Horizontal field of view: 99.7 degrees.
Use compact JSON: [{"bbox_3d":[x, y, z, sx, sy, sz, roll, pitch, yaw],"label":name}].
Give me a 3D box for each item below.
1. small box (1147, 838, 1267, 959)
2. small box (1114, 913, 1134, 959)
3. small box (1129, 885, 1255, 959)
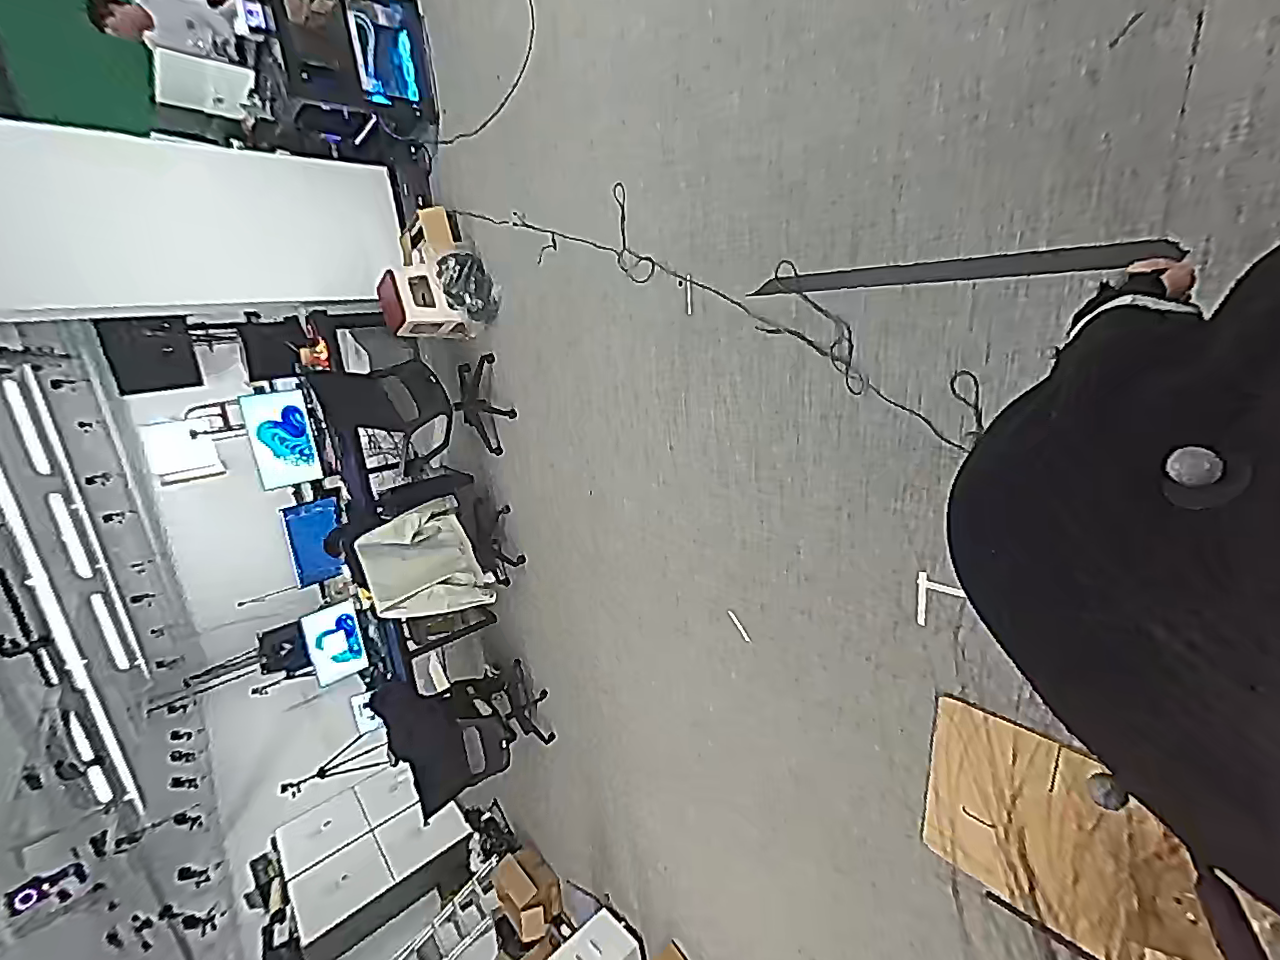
[{"bbox_3d":[1.237,0.935,1.180,0.168,0.176,0.179,-5,99,51],"label":"small box"},{"bbox_3d":[1.245,1.199,1.278,0.168,0.176,0.179,2,105,49],"label":"small box"},{"bbox_3d":[1.111,0.981,1.084,0.168,0.176,0.179,-5,100,49],"label":"small box"}]
